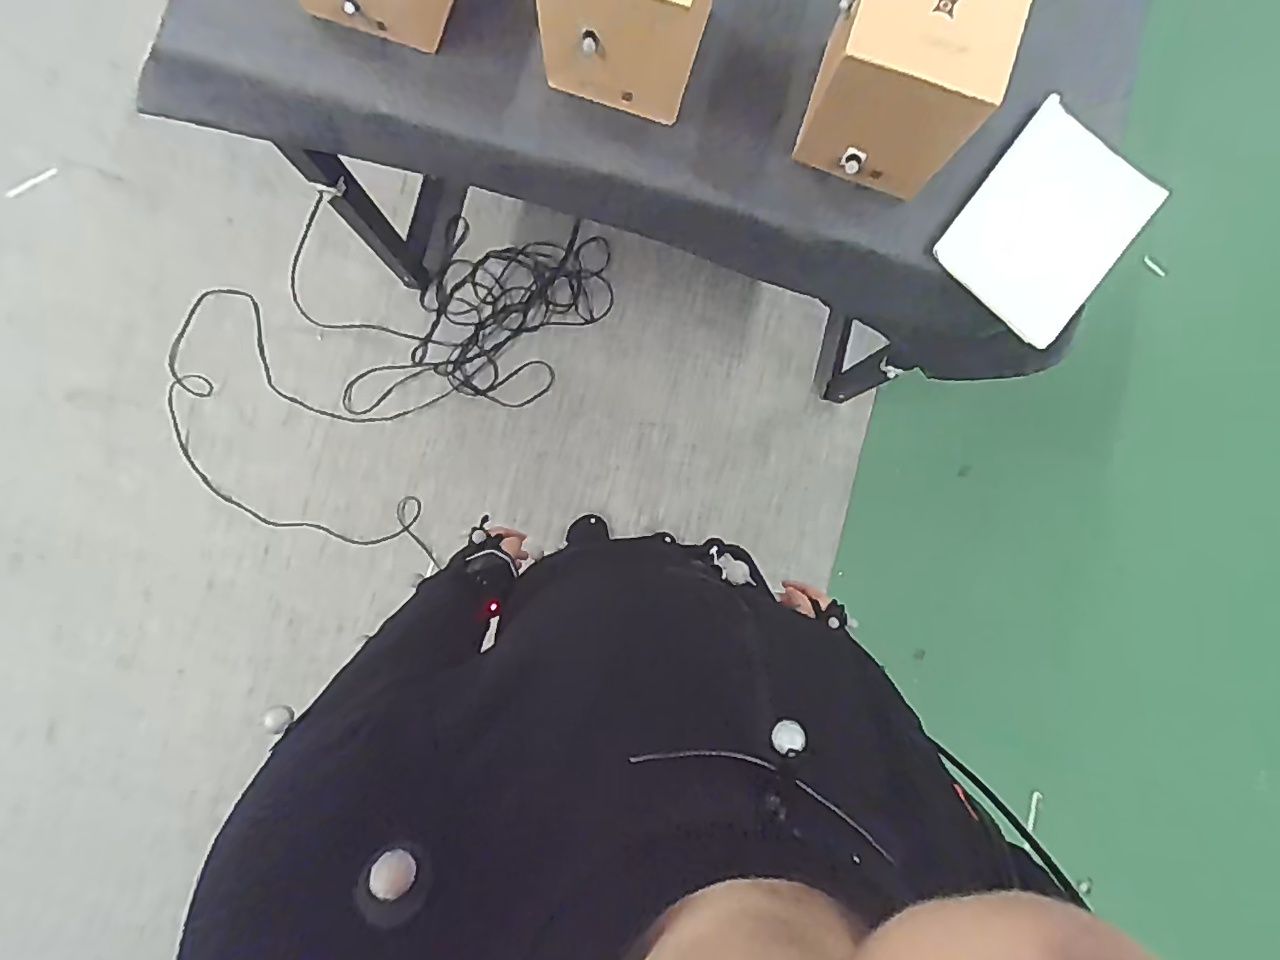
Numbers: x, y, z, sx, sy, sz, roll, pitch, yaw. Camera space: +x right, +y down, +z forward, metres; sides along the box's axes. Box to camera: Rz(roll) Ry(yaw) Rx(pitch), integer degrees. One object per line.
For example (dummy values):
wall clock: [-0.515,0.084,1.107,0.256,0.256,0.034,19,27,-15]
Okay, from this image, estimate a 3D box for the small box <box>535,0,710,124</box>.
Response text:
small box: [-0.011,-0.548,0.603,0.168,0.176,0.179,17,85,-2]

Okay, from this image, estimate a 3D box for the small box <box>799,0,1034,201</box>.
small box: [0.299,-0.463,0.613,0.168,0.176,0.179,17,87,0]
